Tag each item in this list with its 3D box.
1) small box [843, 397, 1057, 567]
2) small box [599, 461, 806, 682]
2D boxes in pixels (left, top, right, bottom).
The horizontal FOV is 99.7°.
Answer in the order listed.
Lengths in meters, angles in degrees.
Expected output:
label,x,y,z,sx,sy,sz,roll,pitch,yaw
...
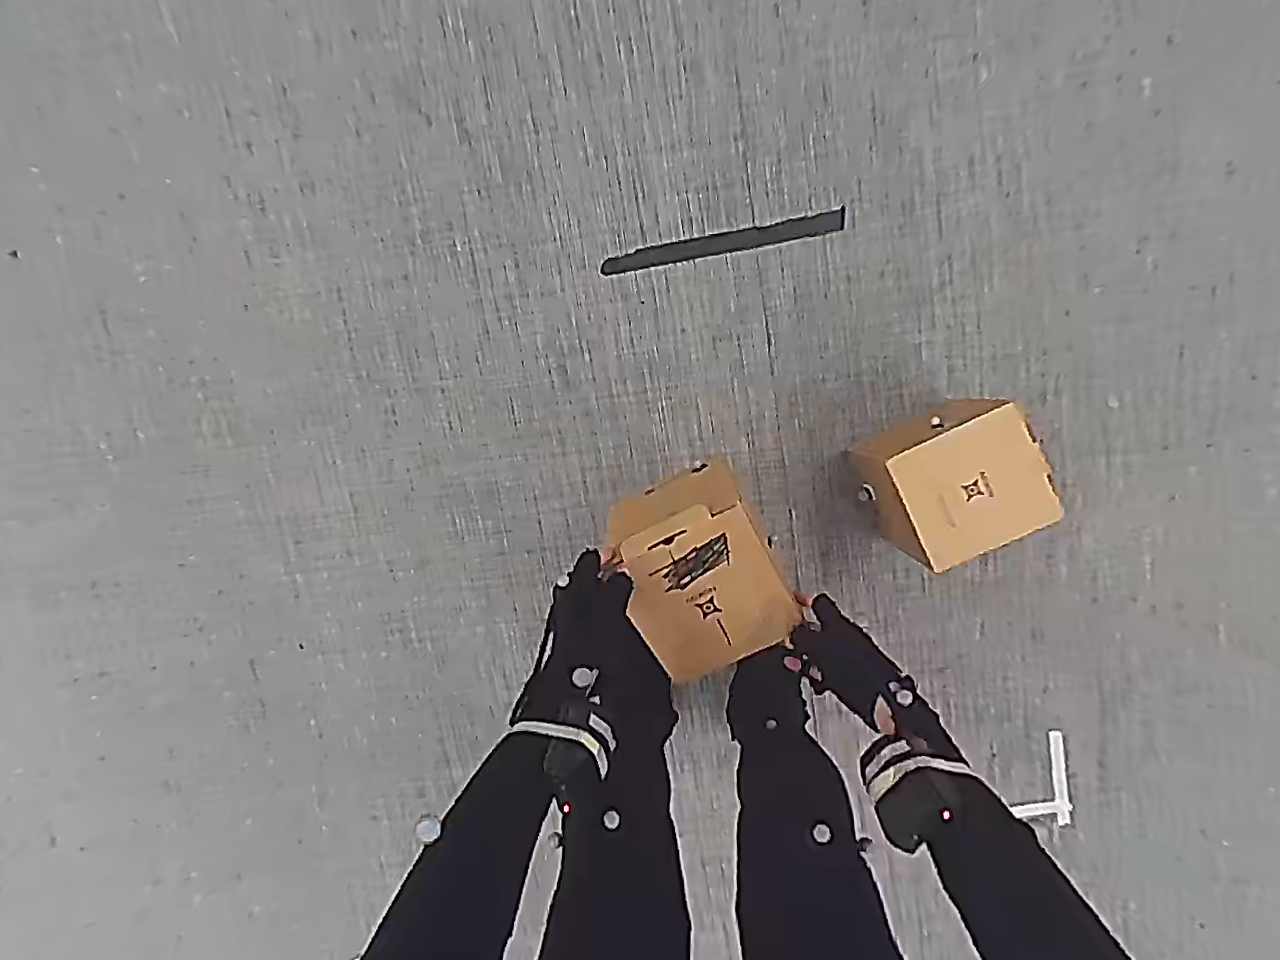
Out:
label,x,y,z,sx,sy,sz,roll,pitch,yaw
small box,0.419,-0.007,0.761,0.179,0.176,0.168,-27,95,7
small box,0.067,0.094,0.644,0.168,0.176,0.179,-28,107,11
